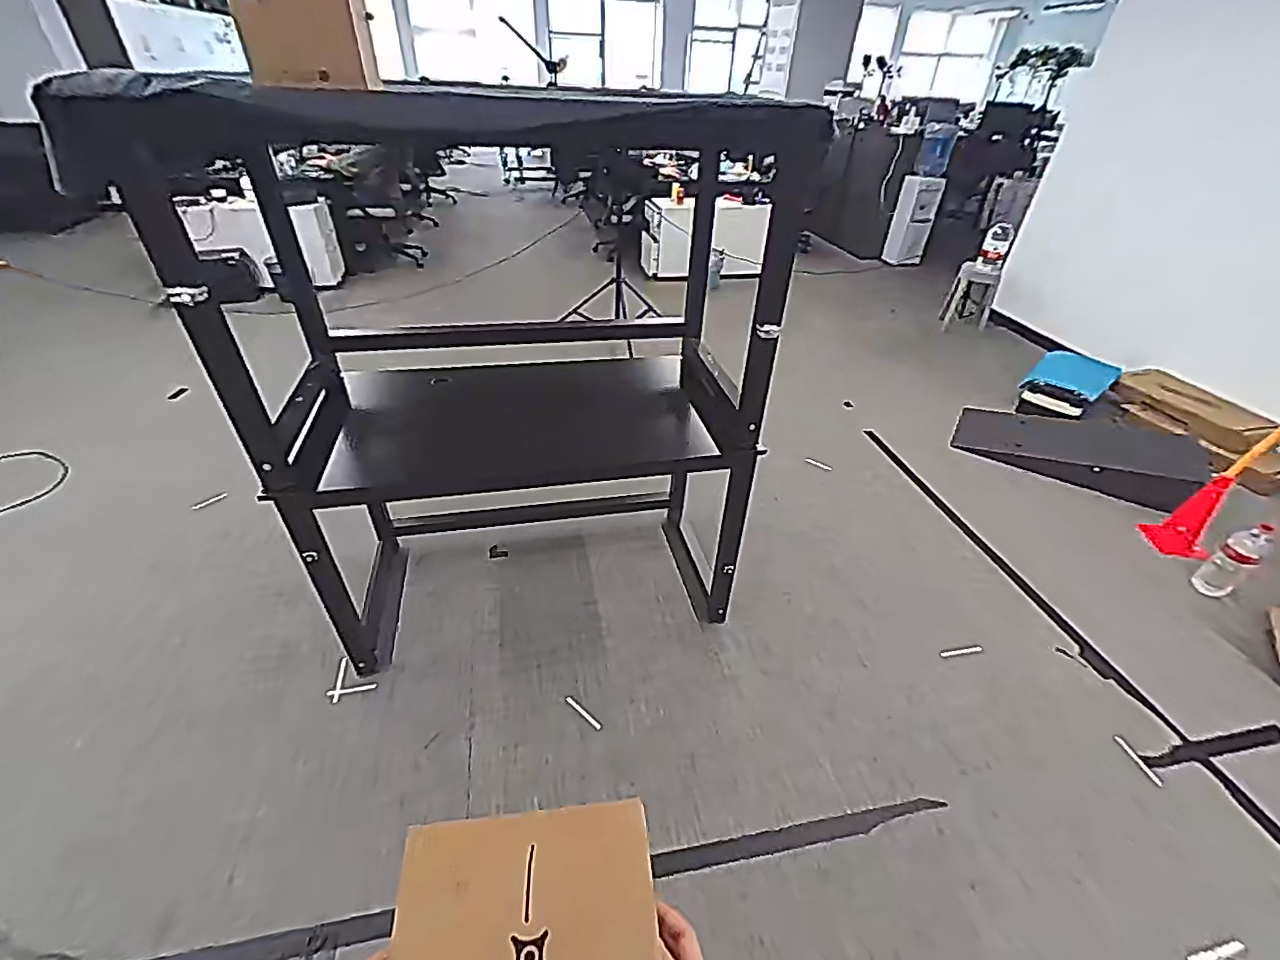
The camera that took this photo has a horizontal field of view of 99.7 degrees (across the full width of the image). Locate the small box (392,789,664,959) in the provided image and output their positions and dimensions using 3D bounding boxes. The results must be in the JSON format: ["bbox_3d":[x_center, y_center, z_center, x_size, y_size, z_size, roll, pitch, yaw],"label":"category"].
[{"bbox_3d":[-0.072,0.346,0.383,0.168,0.176,0.179,-1,45,-8],"label":"small box"}]
